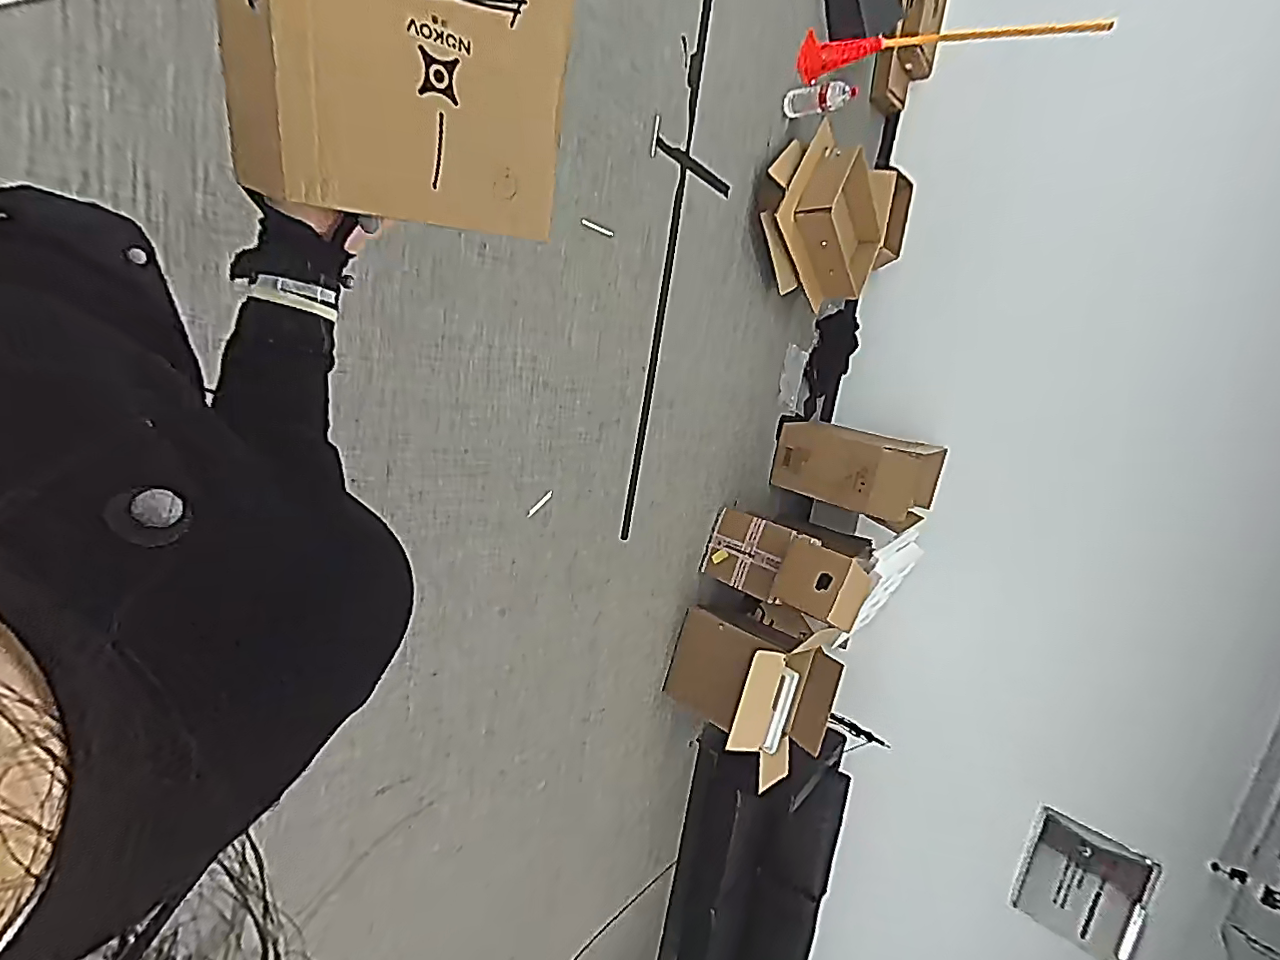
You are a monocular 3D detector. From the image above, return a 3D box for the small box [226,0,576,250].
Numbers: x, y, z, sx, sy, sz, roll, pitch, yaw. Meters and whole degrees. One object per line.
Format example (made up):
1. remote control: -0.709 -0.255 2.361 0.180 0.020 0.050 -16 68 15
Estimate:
1. small box: -0.165 -0.270 0.367 0.168 0.176 0.179 -11 122 -41
